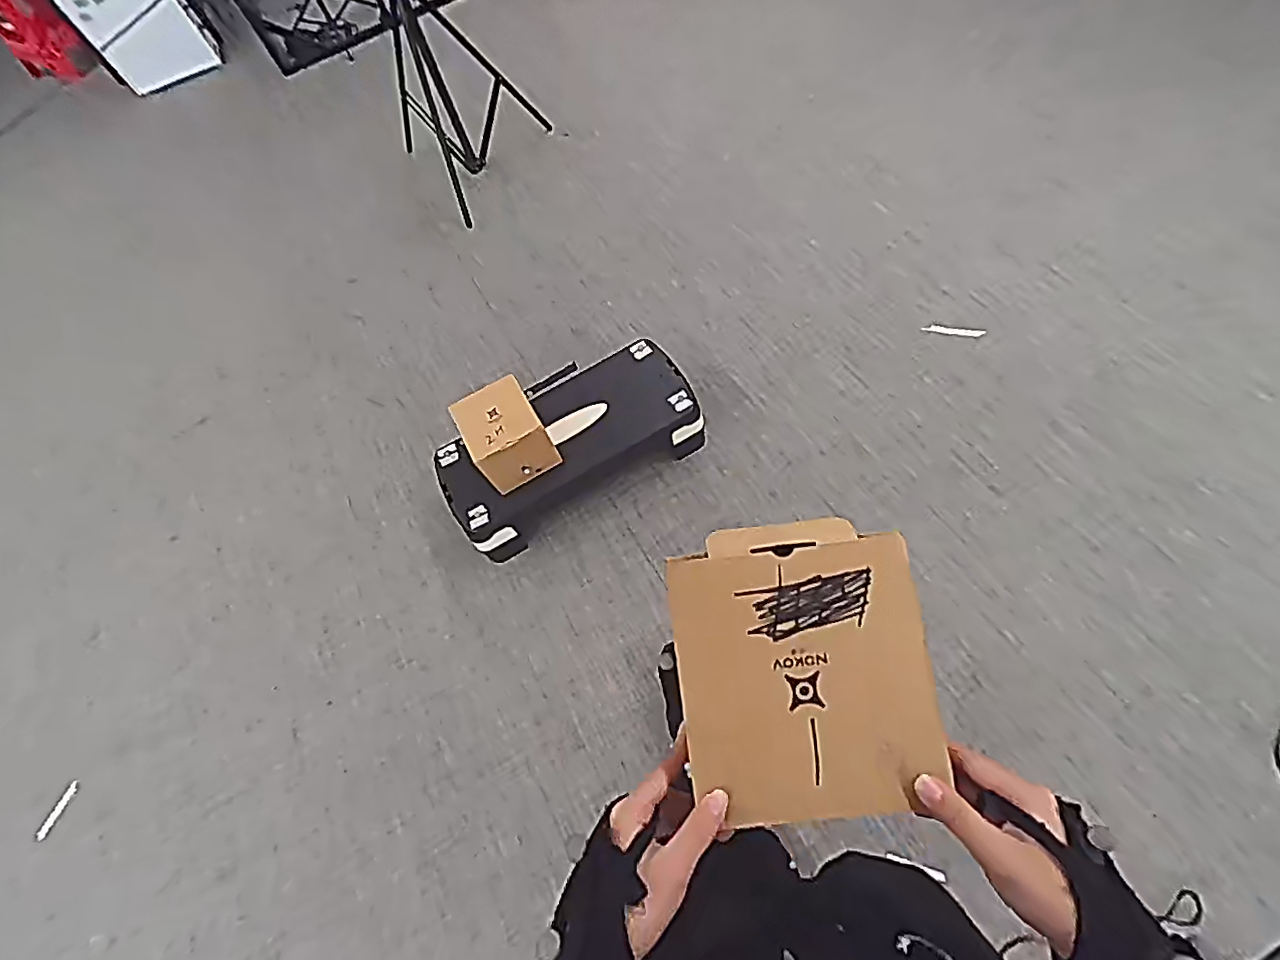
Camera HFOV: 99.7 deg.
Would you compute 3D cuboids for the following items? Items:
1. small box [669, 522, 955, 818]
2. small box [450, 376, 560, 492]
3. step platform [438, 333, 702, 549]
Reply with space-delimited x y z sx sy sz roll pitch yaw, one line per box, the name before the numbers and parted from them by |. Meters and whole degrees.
small box | 0.113 0.136 0.435 0.168 0.176 0.179 -7 81 3
small box | -0.308 -0.102 1.258 0.168 0.176 0.179 -30 64 -5
step platform | -0.178 -0.109 1.437 0.684 0.204 0.286 -31 64 -6
